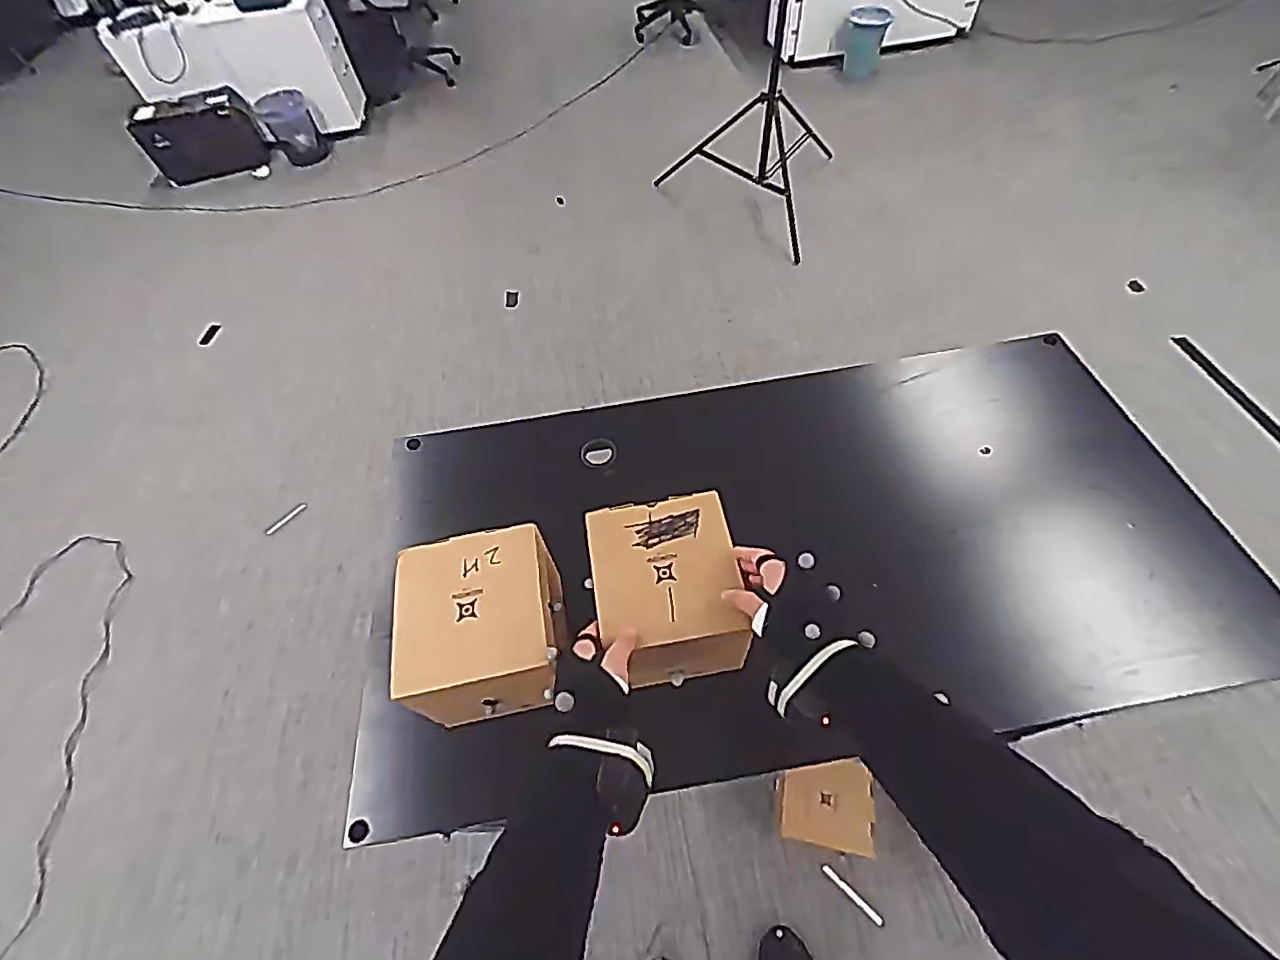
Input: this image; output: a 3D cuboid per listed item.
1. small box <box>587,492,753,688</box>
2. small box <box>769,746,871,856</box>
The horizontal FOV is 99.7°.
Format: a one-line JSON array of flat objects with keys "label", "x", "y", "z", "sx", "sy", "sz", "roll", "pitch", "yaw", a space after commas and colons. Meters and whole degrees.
[{"label": "small box", "x": 0.032, "y": 0.142, "z": 0.678, "sx": 0.168, "sy": 0.176, "sz": 0.179, "roll": -10, "pitch": 57, "yaw": -2}, {"label": "small box", "x": 0.383, "y": 0.691, "z": 1.165, "sx": 0.179, "sy": 0.176, "sz": 0.168, "roll": 7, "pitch": 57, "yaw": 11}]
